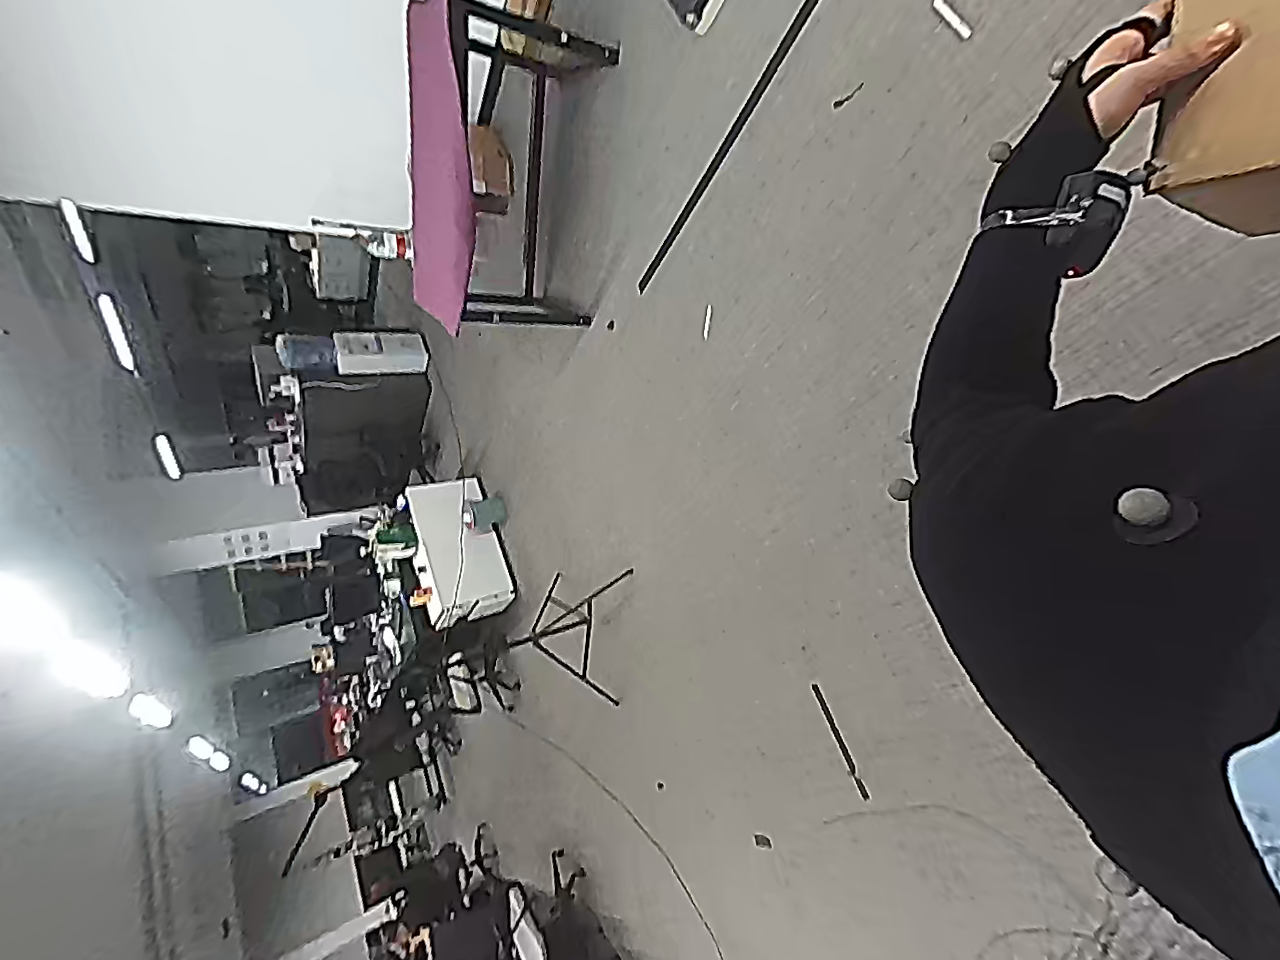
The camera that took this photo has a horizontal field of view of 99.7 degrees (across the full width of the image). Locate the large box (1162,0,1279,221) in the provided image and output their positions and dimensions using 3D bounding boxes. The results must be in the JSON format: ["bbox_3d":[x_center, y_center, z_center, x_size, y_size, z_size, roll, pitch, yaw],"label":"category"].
[{"bbox_3d":[0.630,-0.368,0.298,0.408,0.320,0.320,17,111,57],"label":"large box"}]
